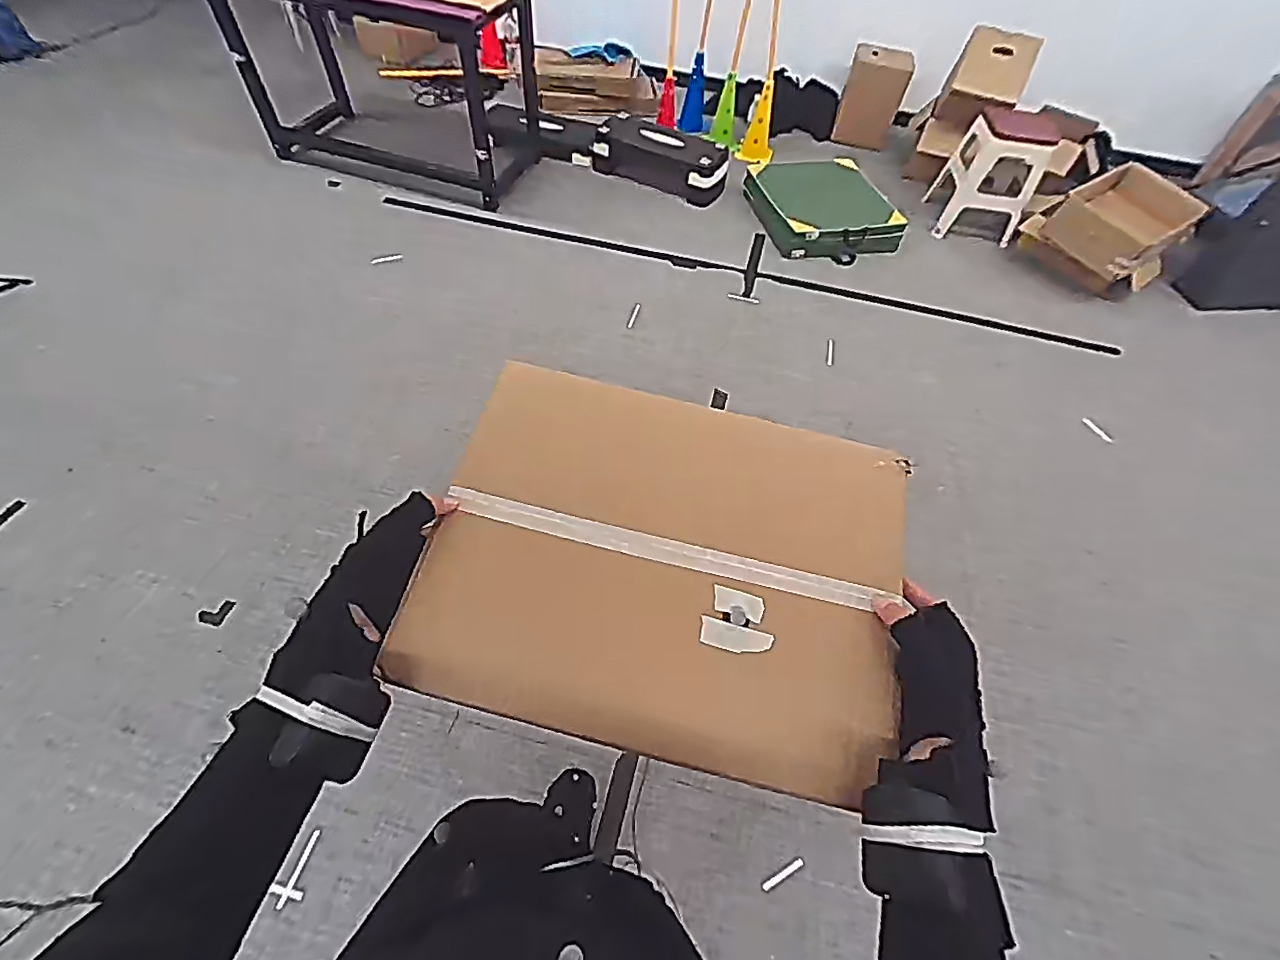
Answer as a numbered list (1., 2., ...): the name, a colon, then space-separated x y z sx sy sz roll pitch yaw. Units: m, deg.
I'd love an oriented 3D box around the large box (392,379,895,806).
1. large box: 0.016 0.135 0.614 0.408 0.320 0.320 14 65 2
